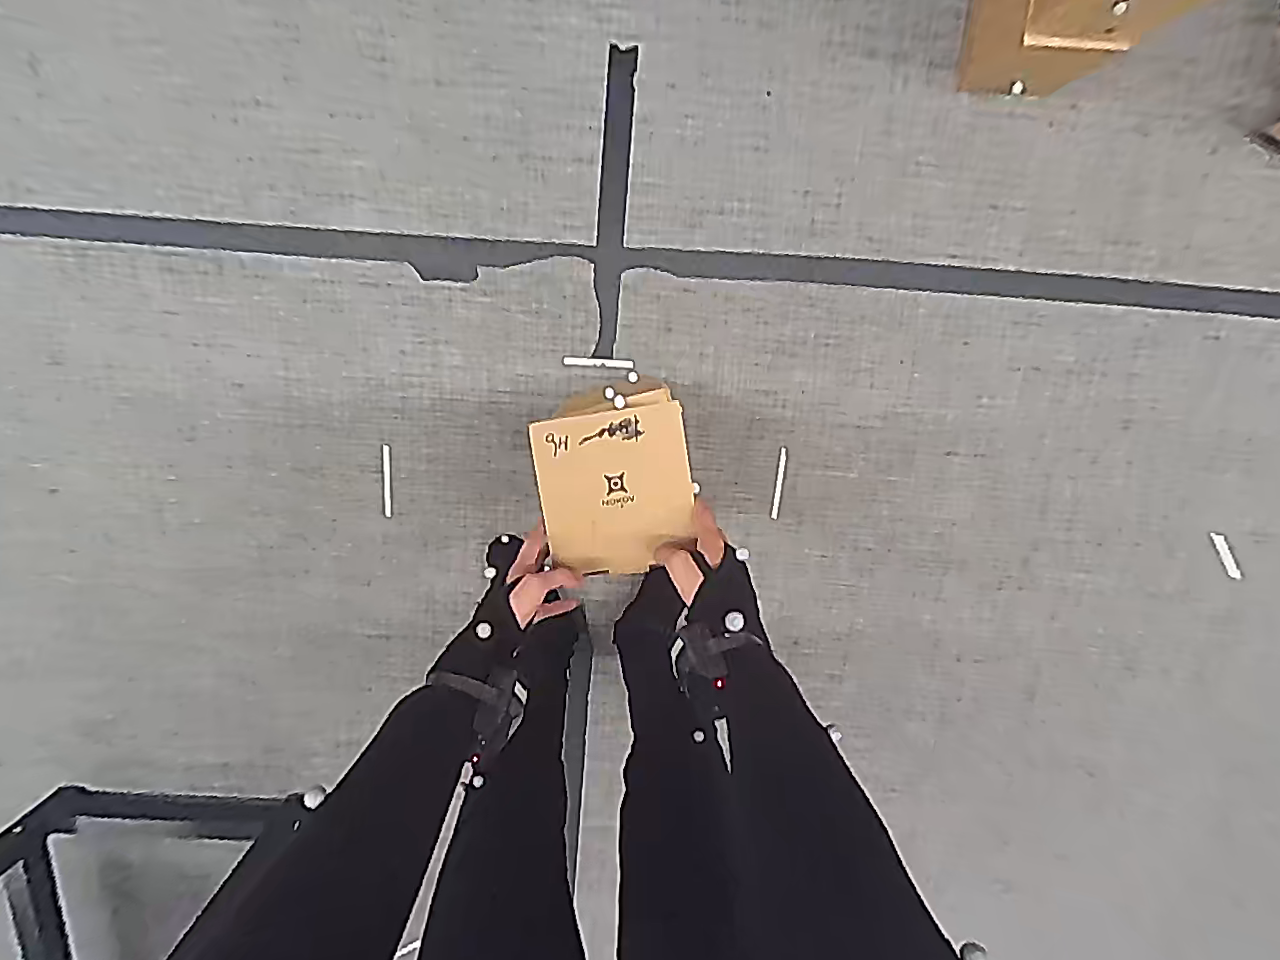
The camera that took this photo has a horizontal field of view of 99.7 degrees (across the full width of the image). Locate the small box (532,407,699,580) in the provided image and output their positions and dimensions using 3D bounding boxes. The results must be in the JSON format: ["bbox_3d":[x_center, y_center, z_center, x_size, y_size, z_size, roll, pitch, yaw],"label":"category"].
[{"bbox_3d":[-0.023,0.007,0.667,0.168,0.176,0.179,-8,95,1],"label":"small box"}]
